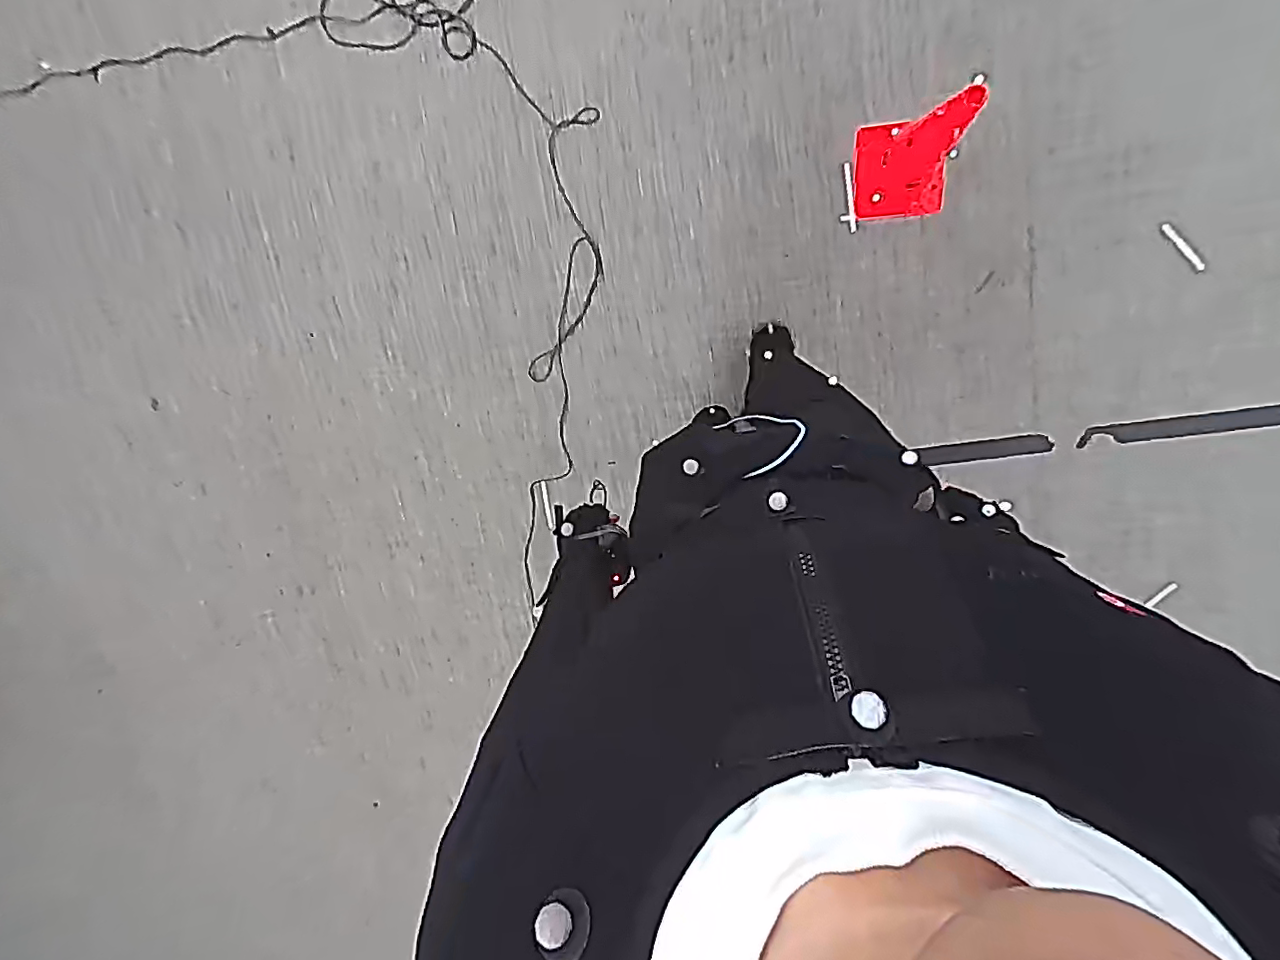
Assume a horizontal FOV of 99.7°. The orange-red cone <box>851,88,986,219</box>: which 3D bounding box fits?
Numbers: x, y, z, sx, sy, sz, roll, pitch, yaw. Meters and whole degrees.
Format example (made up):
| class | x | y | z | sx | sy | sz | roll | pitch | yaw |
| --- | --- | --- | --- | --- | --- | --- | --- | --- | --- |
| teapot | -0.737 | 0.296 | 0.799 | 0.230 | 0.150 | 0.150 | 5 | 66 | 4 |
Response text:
| class | x | y | z | sx | sy | sz | roll | pitch | yaw |
| --- | --- | --- | --- | --- | --- | --- | --- | --- | --- |
| orange-red cone | 0.578 | -0.674 | 1.076 | 0.199 | 0.360 | 0.198 | -1 | 102 | 5 |
